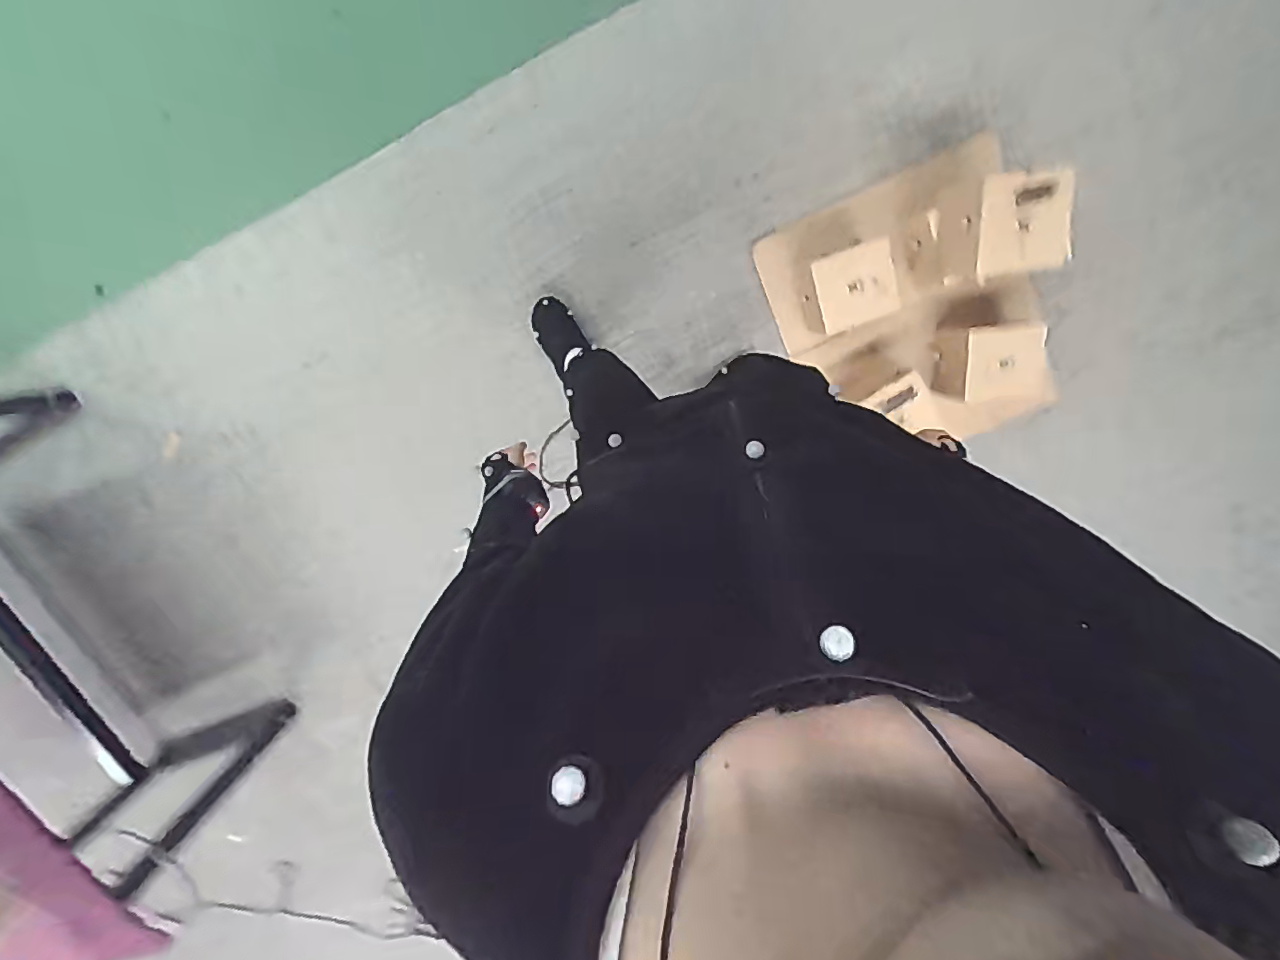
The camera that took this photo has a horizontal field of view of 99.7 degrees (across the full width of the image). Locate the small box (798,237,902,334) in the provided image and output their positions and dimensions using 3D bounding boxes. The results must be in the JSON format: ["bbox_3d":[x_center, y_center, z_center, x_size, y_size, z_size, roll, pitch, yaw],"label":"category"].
[{"bbox_3d":[0.484,-0.451,1.274,0.179,0.176,0.168,-17,107,6],"label":"small box"}]

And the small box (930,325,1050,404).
[{"bbox_3d":[0.840,-0.284,1.314,0.179,0.176,0.168,-5,107,2],"label":"small box"}]

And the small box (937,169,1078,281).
[{"bbox_3d":[0.721,-0.501,1.082,0.168,0.176,0.179,-4,108,2],"label":"small box"}]

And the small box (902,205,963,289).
[{"bbox_3d":[0.727,-0.550,1.239,0.179,0.176,0.168,-21,106,7],"label":"small box"}]
